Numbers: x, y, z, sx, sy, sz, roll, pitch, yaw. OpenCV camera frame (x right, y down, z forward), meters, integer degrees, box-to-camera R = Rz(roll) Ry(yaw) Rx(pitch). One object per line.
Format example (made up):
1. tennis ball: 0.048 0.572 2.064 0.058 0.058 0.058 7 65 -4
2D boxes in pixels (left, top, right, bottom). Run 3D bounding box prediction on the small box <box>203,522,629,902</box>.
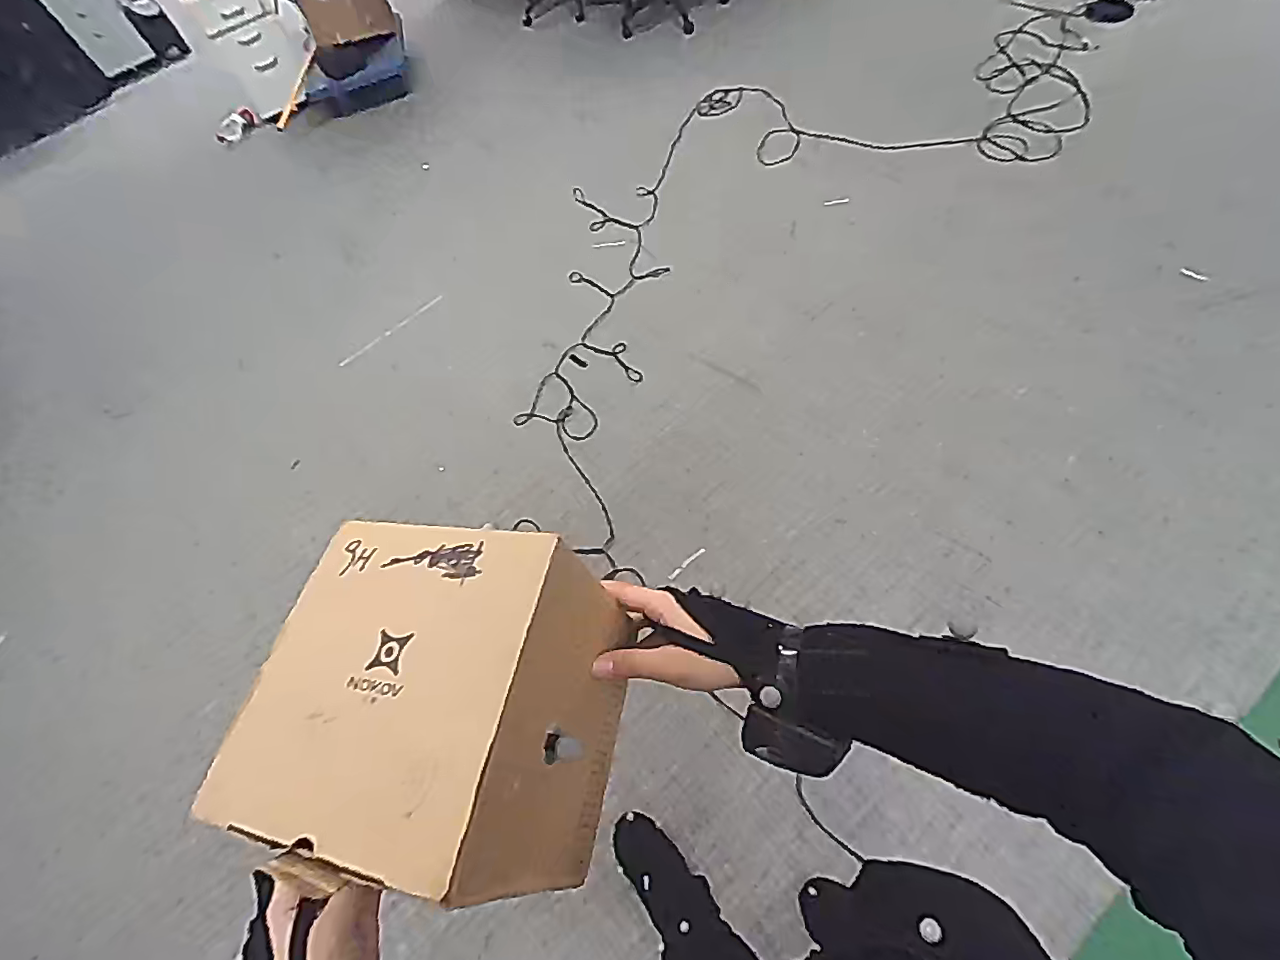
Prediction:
1. small box: -0.119 0.147 0.364 0.168 0.176 0.179 2 59 20
